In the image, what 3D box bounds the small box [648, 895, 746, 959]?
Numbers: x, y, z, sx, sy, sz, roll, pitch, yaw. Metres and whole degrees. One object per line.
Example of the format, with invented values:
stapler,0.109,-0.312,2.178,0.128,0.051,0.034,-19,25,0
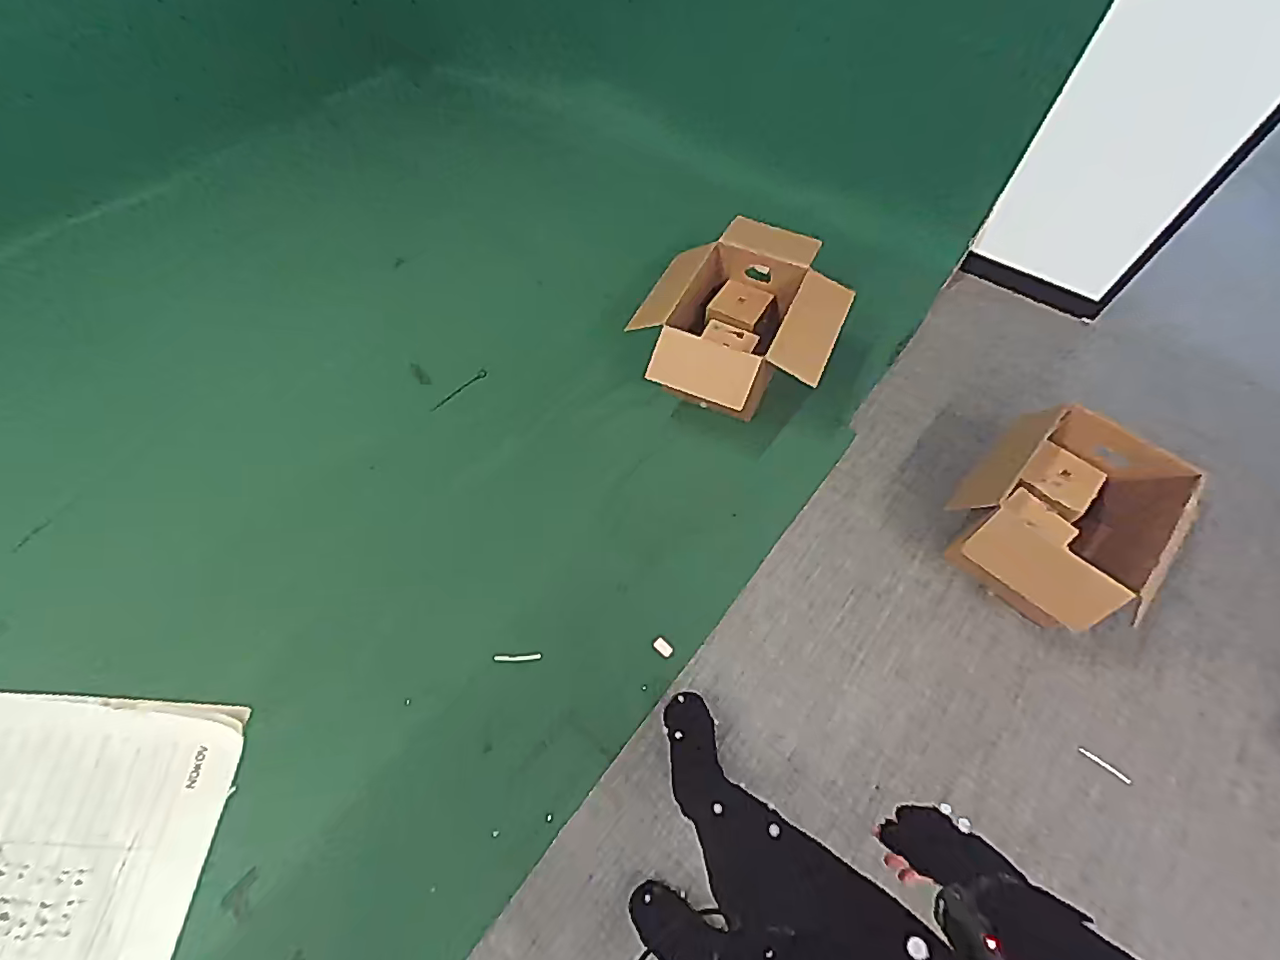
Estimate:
small box,0.112,0.916,1.044,0.179,0.176,0.168,-8,54,3
